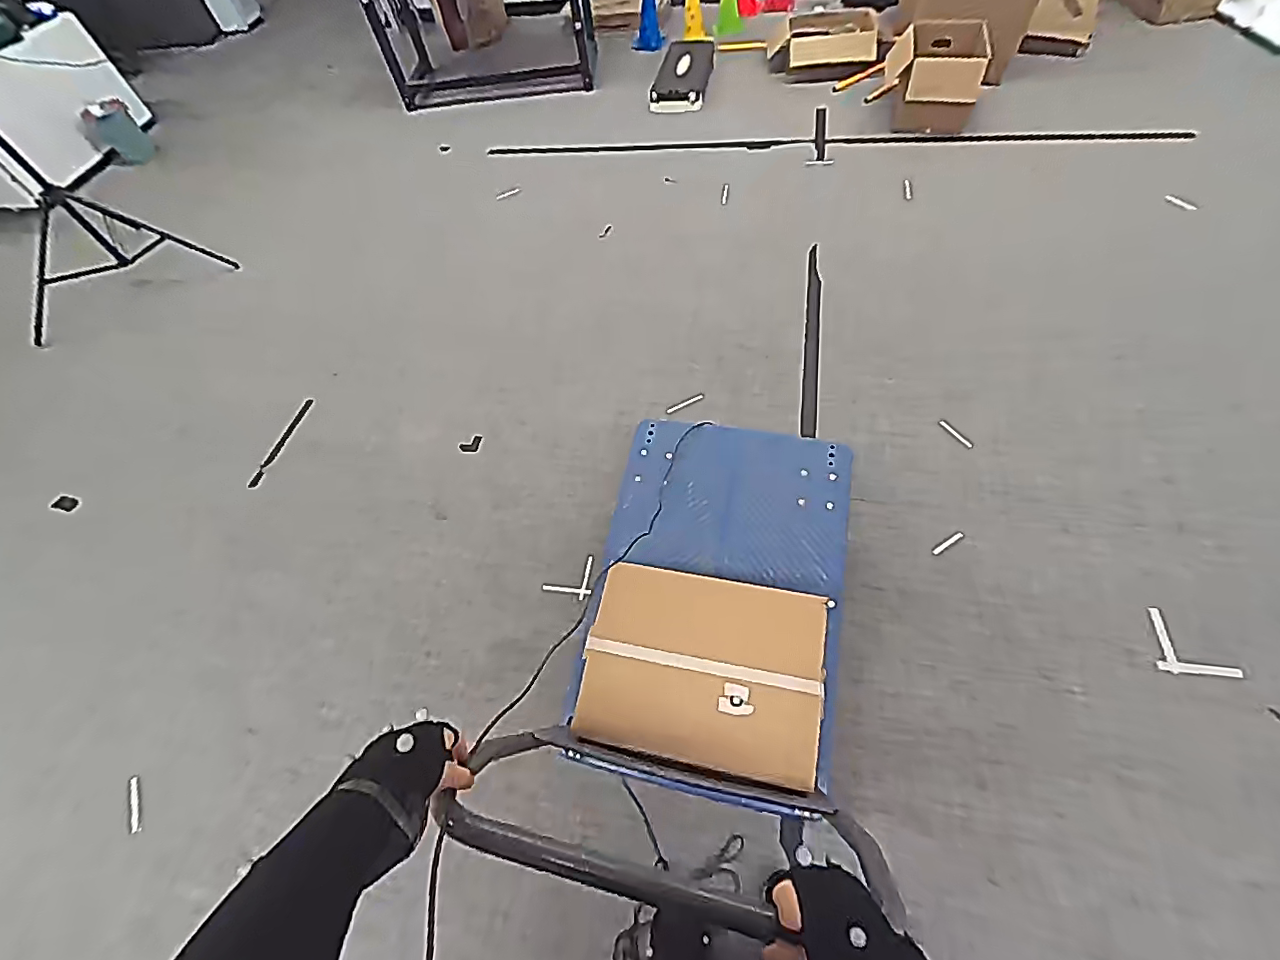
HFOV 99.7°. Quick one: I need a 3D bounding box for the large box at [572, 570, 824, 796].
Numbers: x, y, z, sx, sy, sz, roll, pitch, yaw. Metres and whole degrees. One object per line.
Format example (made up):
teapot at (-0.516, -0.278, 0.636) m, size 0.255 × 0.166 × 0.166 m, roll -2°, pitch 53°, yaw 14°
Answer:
large box at (0.120, 0.392, 1.059) m, size 0.408 × 0.320 × 0.320 m, roll 7°, pitch 67°, yaw 11°
